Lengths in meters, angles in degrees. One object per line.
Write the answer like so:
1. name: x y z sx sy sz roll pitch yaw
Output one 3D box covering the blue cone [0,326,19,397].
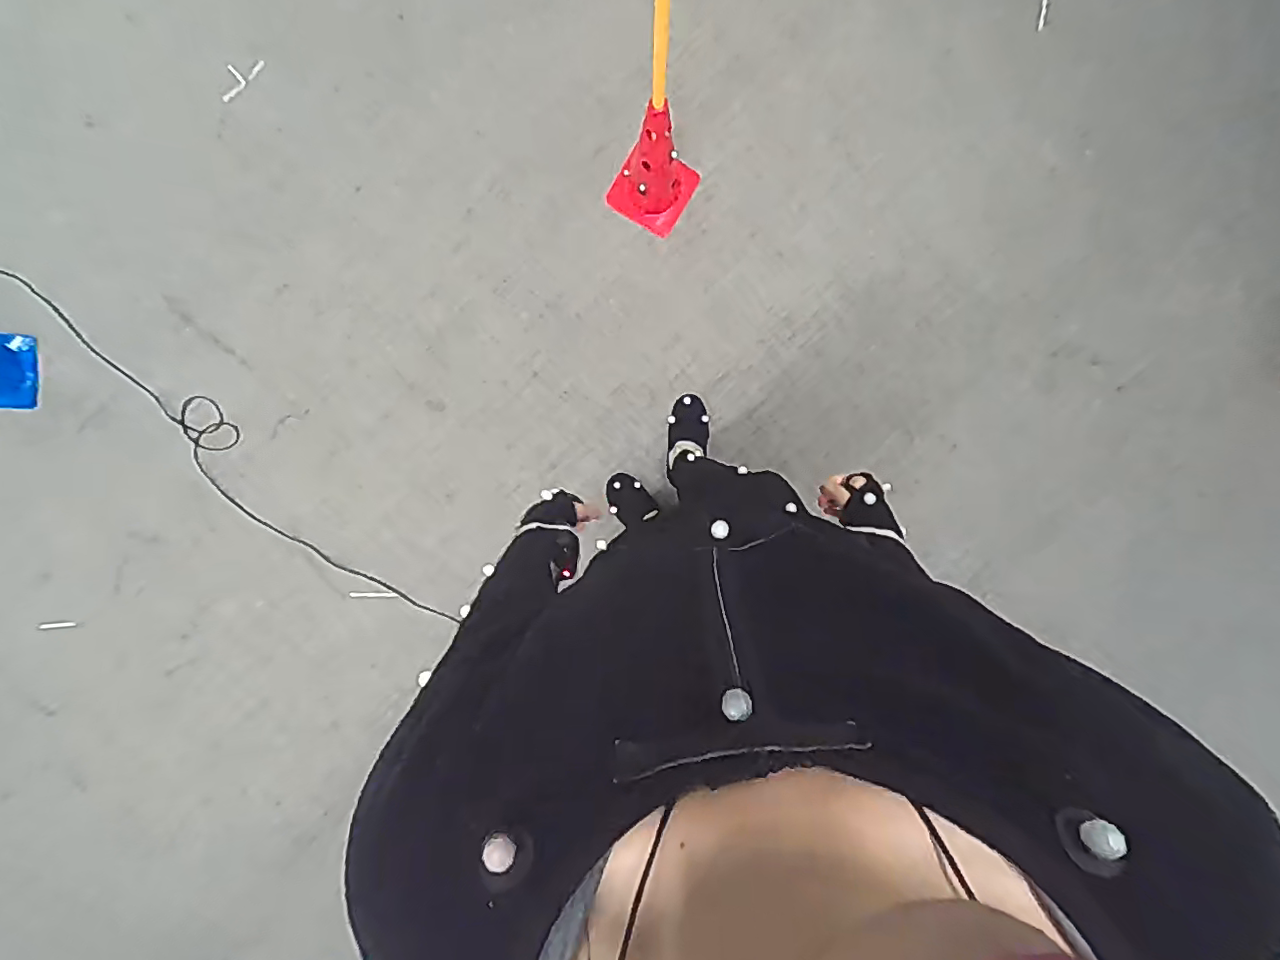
1. blue cone: -1.717 -0.293 1.247 0.192 0.380 0.193 2 96 -3
